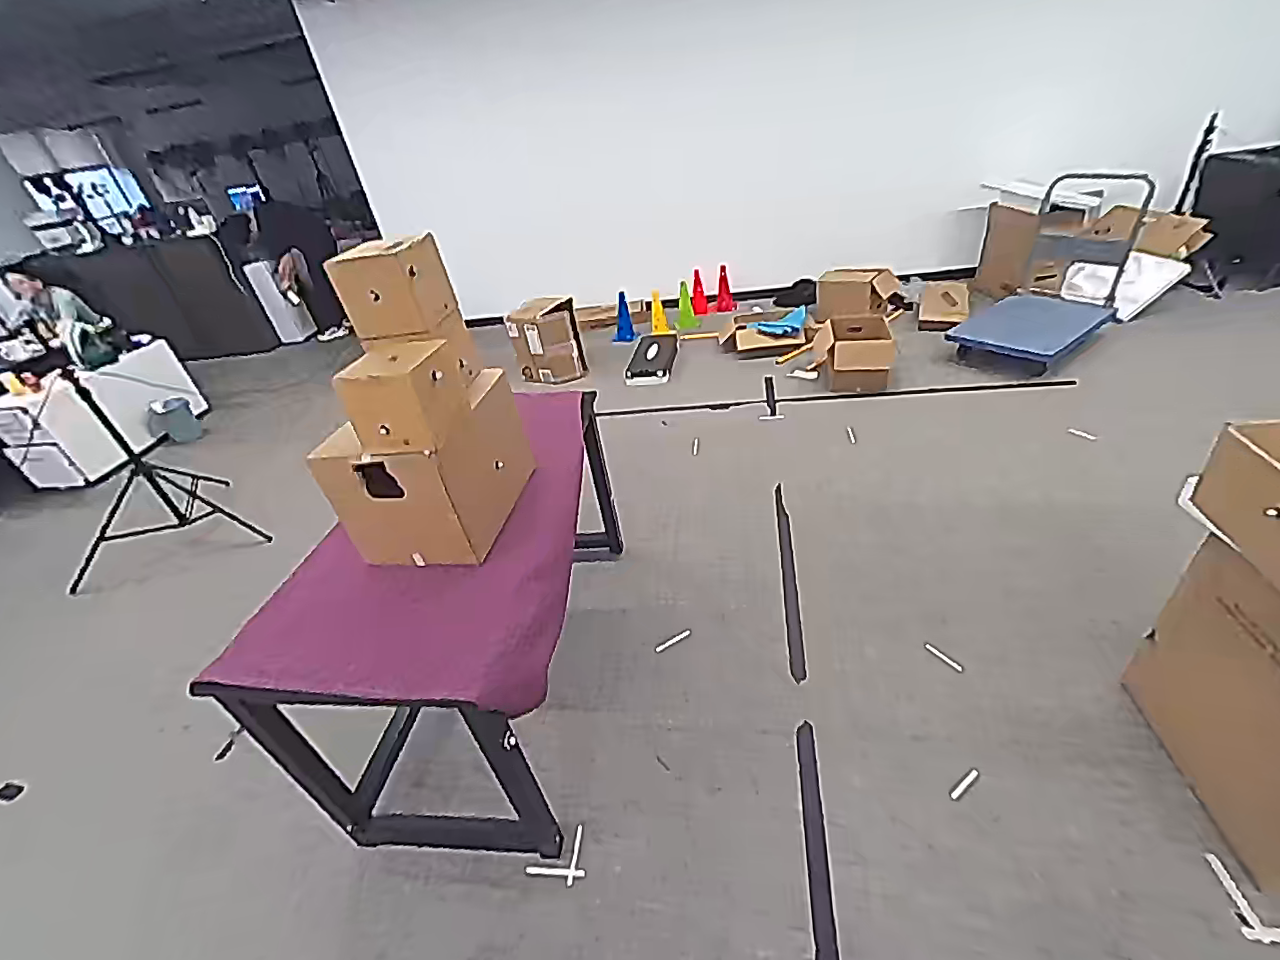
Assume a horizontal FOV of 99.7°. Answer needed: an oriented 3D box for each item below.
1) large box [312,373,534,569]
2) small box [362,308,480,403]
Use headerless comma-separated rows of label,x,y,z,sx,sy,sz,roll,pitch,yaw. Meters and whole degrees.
large box,-0.495,-0.030,1.345,0.320,0.320,0.408,-4,36,12
small box,-0.515,-0.295,1.295,0.179,0.176,0.168,-3,37,12
